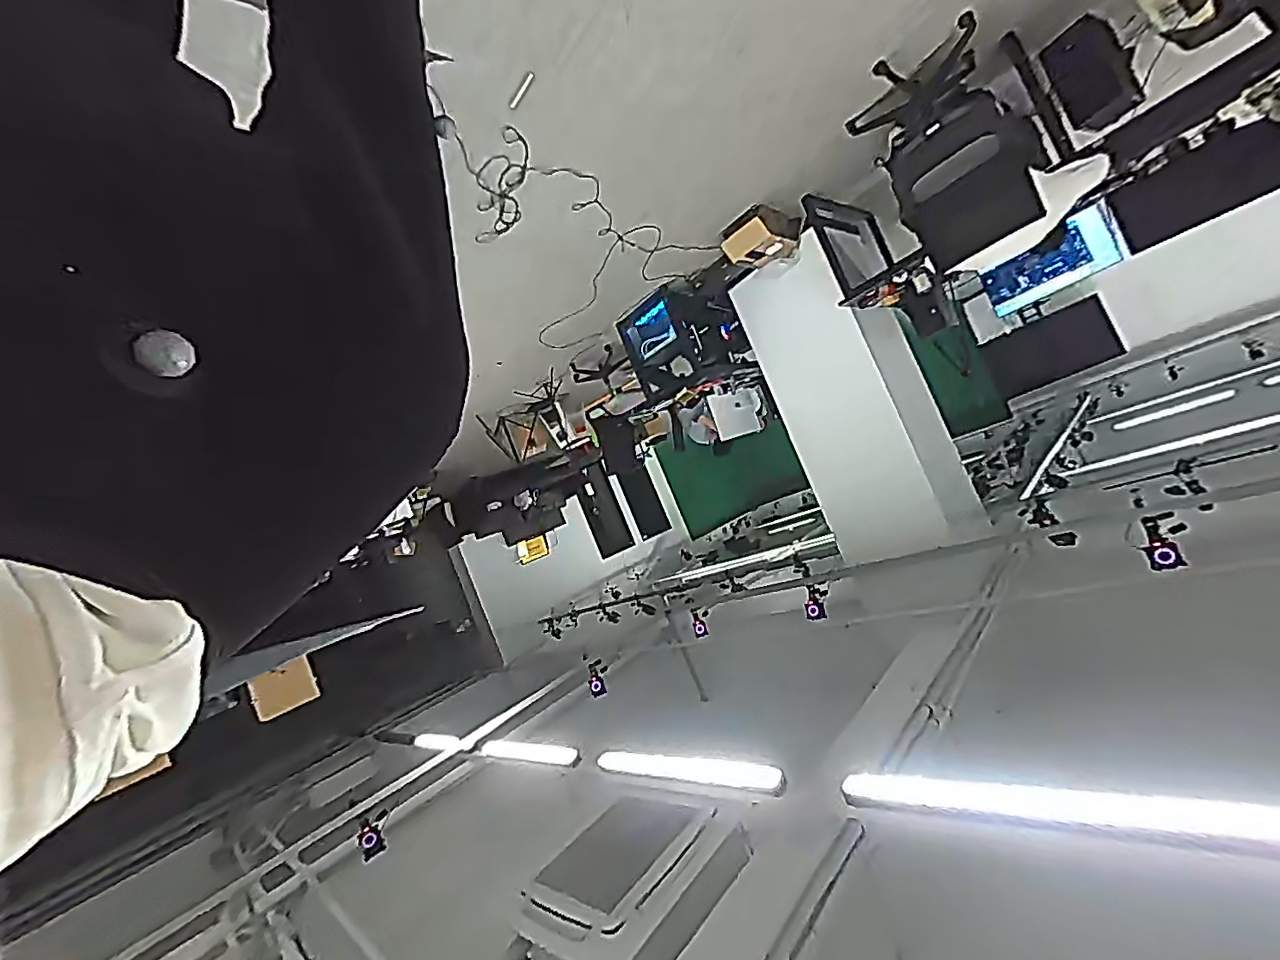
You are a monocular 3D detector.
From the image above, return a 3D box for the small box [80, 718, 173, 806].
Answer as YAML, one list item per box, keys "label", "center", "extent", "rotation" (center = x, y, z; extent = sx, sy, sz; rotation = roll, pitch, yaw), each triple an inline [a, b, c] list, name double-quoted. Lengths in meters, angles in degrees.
- label: "small box"
  center: [-1.556, 0.847, 1.635]
  extent: [0.168, 0.176, 0.179]
  rotation: [-25, 176, 43]
